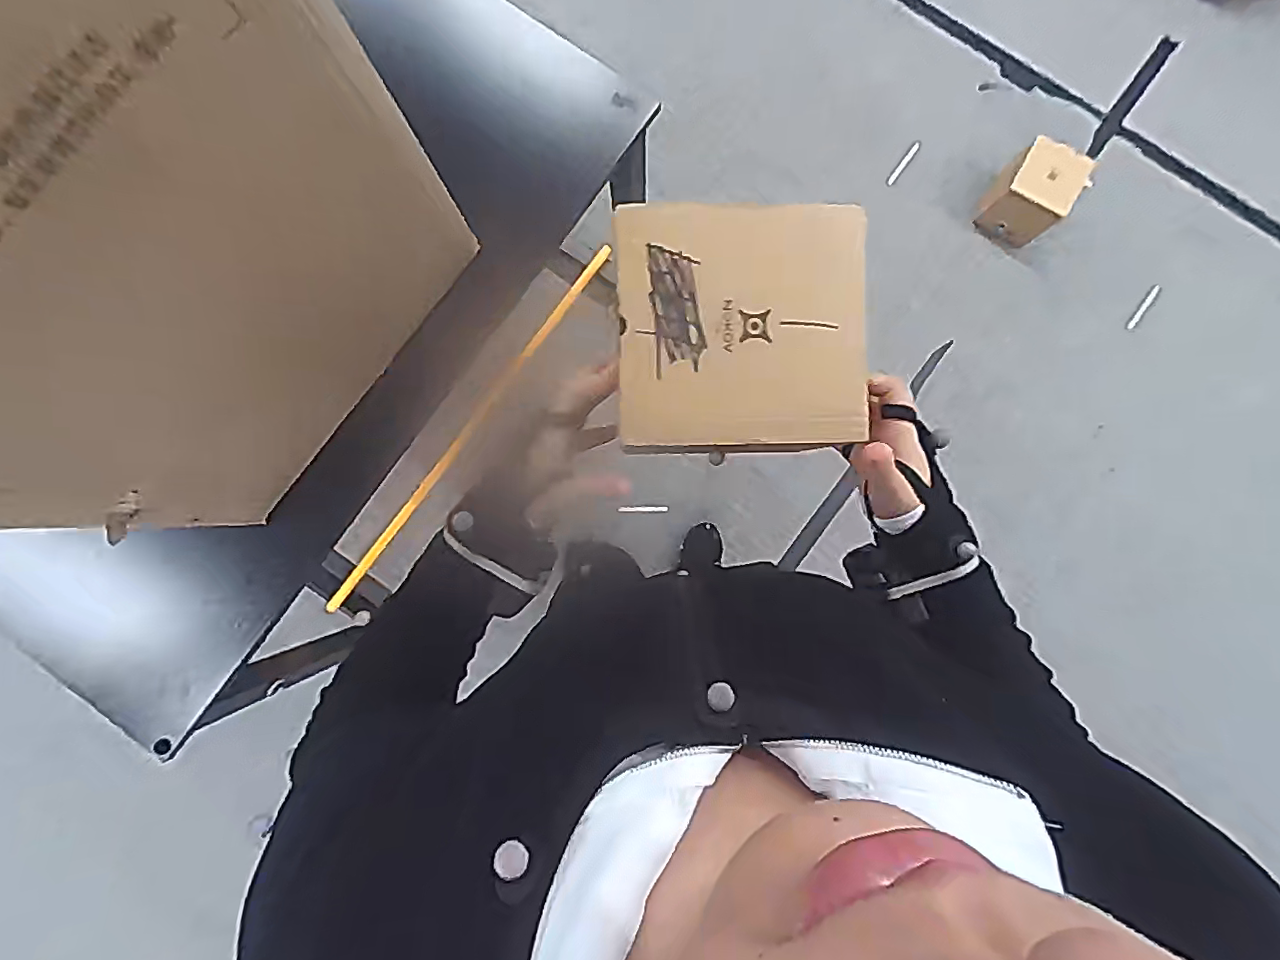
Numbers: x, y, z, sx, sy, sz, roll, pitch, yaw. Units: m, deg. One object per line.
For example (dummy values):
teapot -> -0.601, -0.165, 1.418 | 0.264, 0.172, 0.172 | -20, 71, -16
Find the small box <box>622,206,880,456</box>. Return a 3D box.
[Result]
small box -> 0.076, -0.105, 0.449 | 0.179, 0.176, 0.168 | 0, 92, 0

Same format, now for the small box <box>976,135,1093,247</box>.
small box -> 1.074, -0.787, 1.490 | 0.168, 0.176, 0.179 | 29, 88, 3
